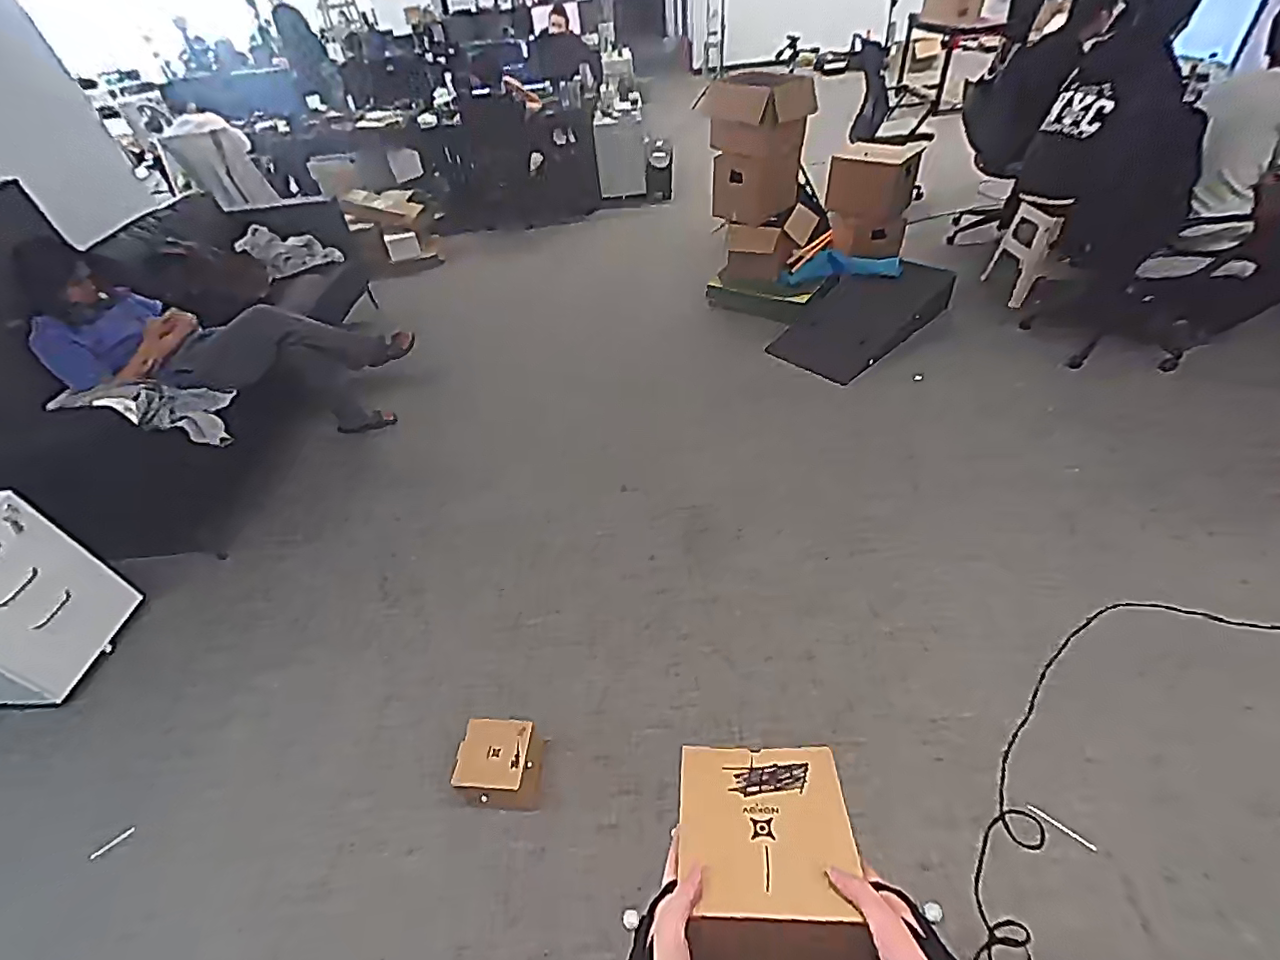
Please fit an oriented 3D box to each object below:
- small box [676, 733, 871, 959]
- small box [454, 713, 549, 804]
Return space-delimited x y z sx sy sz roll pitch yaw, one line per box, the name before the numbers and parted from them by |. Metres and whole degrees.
small box | 0.130 0.396 0.564 0.168 0.176 0.179 -5 22 9
small box | -0.357 0.735 1.427 0.179 0.176 0.168 -1 43 8
